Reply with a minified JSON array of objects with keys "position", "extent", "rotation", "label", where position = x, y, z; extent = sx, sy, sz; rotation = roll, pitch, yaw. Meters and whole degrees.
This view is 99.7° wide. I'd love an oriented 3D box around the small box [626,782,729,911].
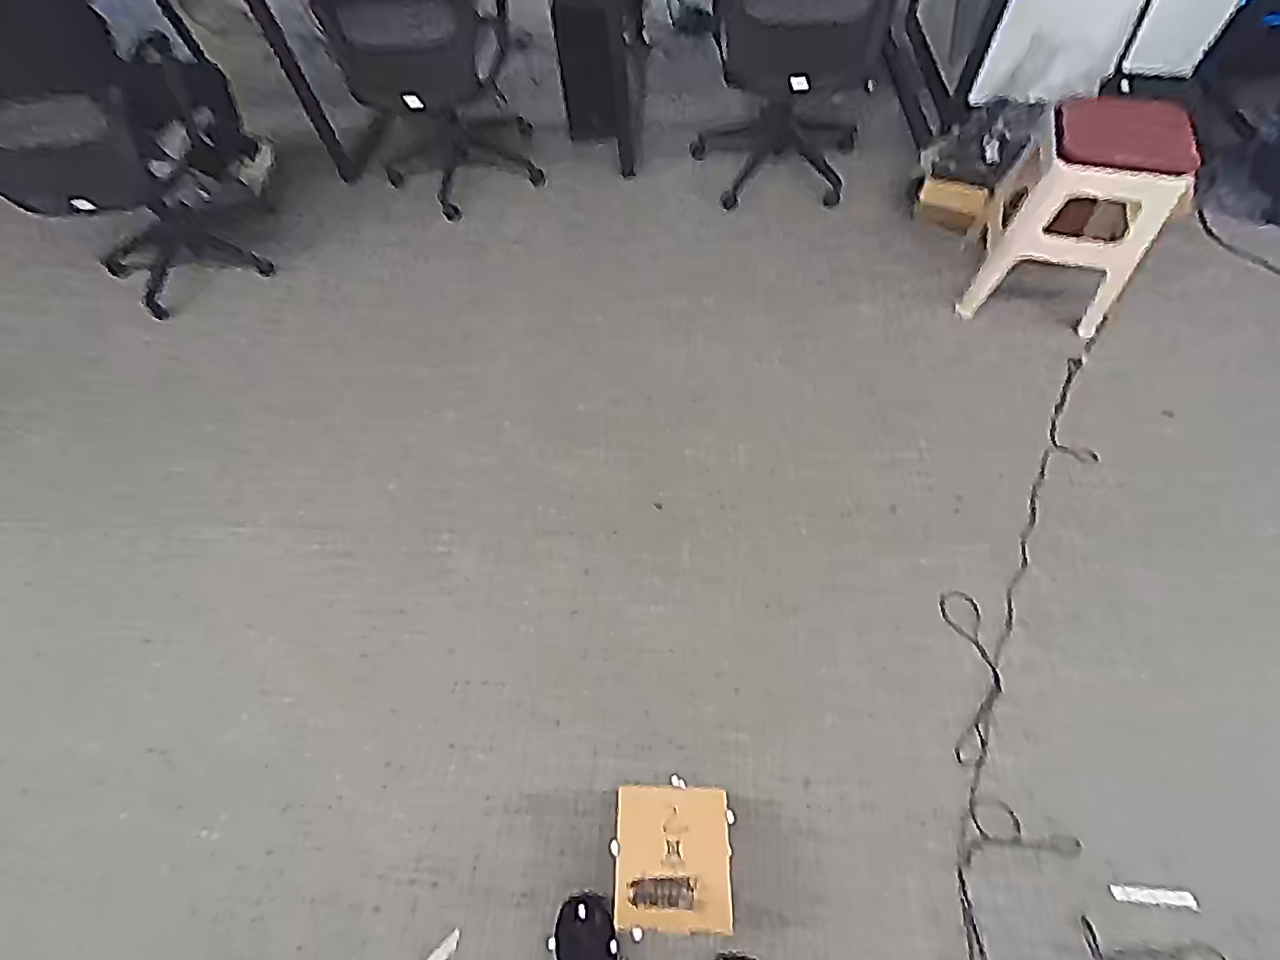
[{"position":[0.063,0.659,0.987],"extent":[0.168,0.176,0.179],"rotation":[-5,61,1],"label":"small box"}]
